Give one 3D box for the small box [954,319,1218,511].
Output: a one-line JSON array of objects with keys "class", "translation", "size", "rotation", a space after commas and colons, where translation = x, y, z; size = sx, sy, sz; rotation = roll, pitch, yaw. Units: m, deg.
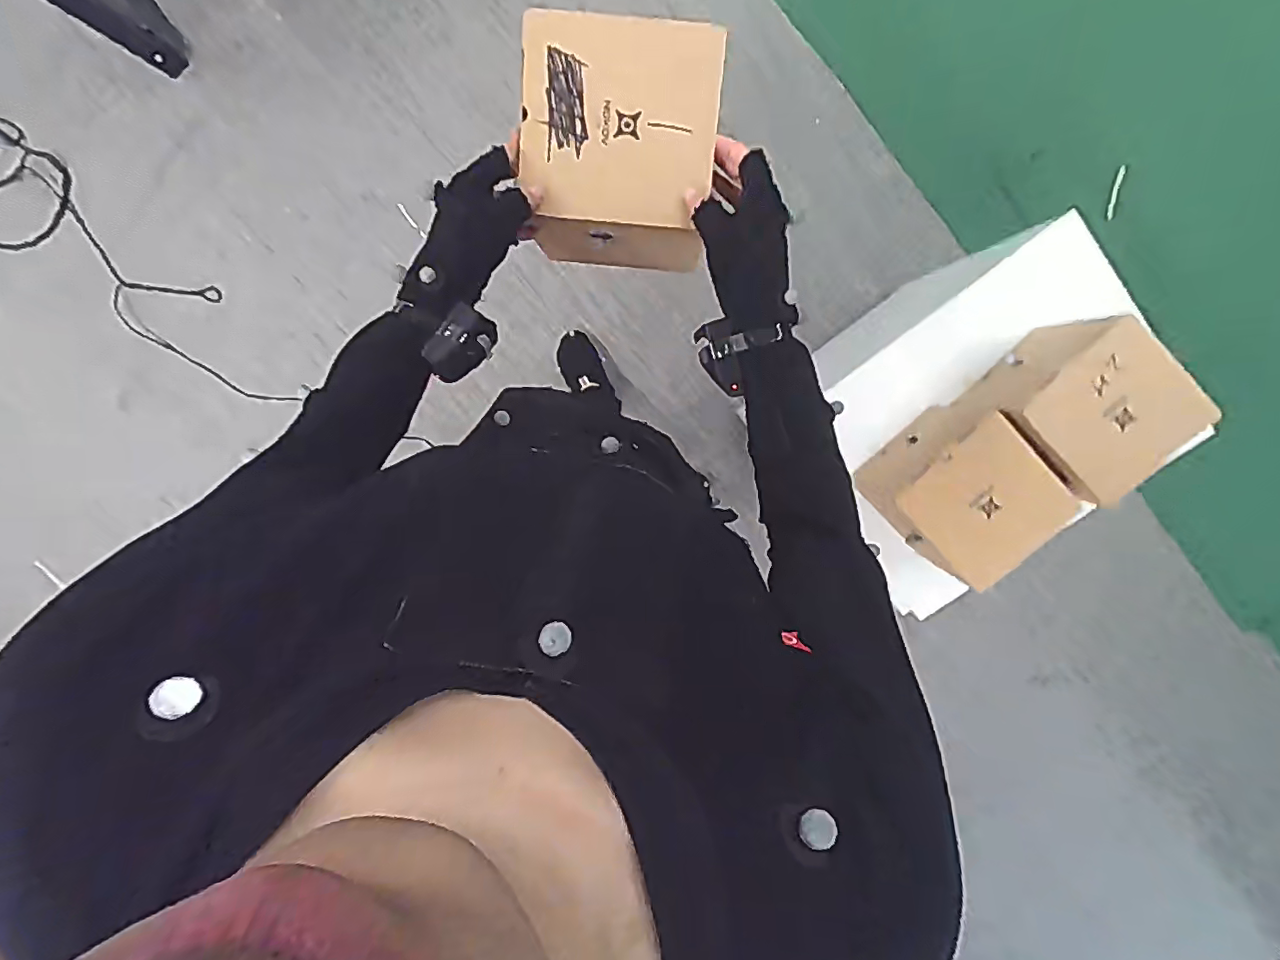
[{"class": "small box", "translation": [0.578, -0.090, 0.727], "size": [0.168, 0.176, 0.179], "rotation": [-44, 95, 9]}]
